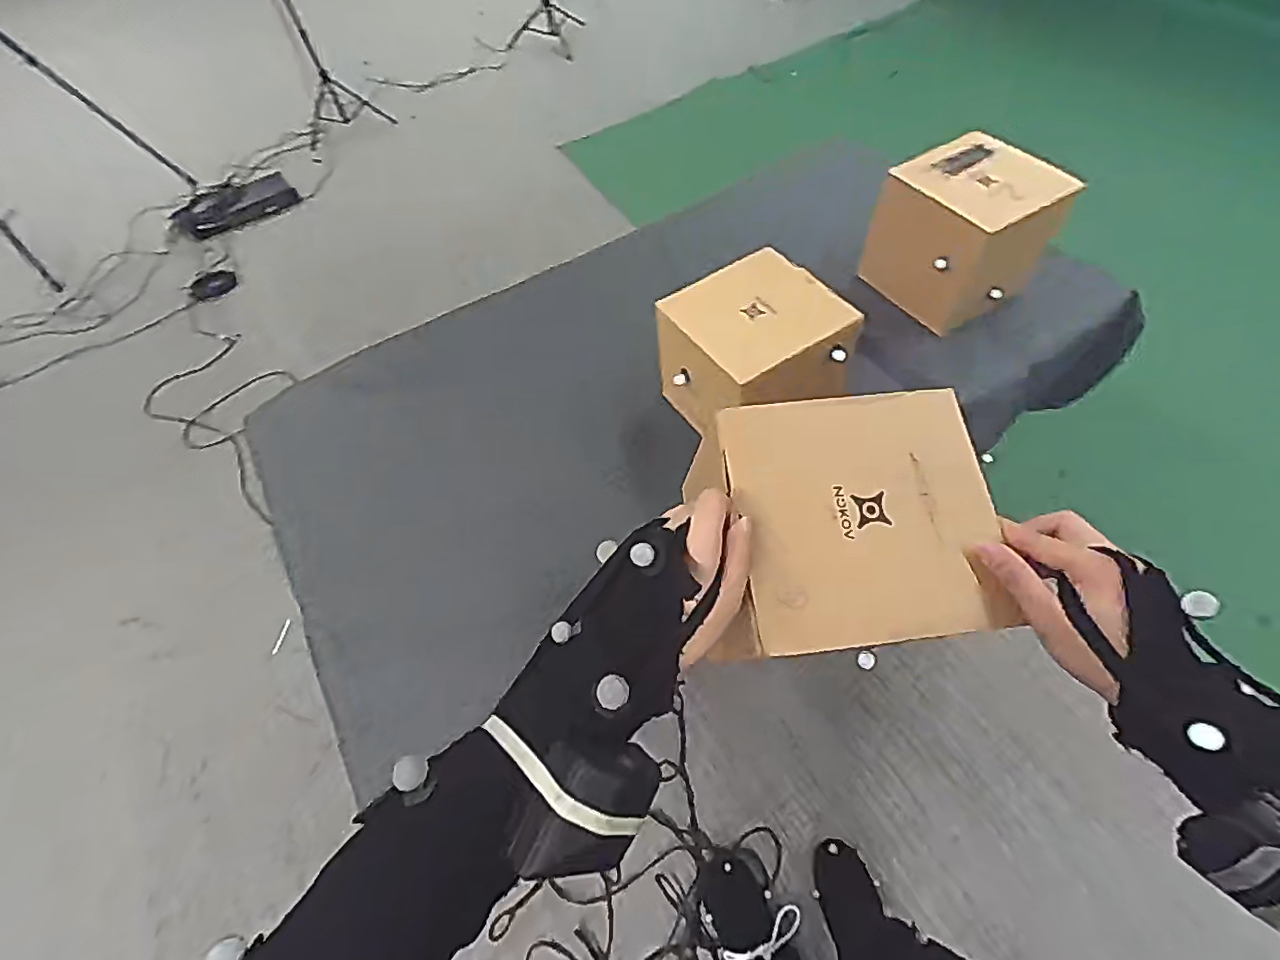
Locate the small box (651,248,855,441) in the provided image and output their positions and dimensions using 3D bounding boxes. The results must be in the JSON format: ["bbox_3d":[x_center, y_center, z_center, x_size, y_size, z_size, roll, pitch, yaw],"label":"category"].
[{"bbox_3d":[0.134,-0.151,0.685,0.179,0.176,0.168,-30,59,-14],"label":"small box"}]

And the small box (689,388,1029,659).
[{"bbox_3d":[0.139,0.045,0.421,0.179,0.176,0.168,-5,72,-6],"label":"small box"}]
